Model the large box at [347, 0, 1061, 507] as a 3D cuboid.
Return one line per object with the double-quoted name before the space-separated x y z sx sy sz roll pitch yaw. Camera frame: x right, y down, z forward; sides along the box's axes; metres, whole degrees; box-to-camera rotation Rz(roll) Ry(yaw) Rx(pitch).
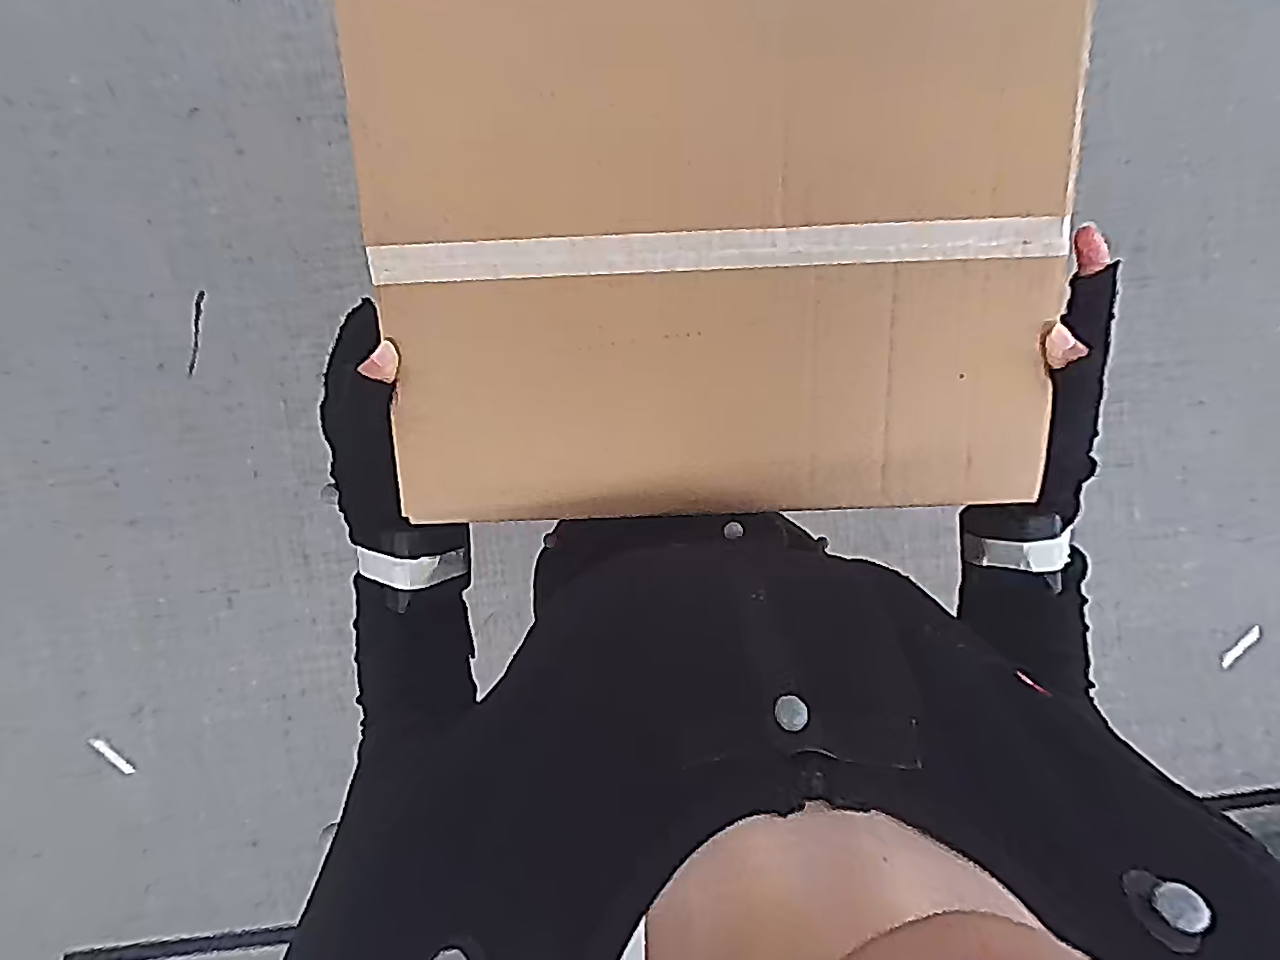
"large box" 0.039 -0.171 0.471 0.408 0.320 0.320 -2 103 0
